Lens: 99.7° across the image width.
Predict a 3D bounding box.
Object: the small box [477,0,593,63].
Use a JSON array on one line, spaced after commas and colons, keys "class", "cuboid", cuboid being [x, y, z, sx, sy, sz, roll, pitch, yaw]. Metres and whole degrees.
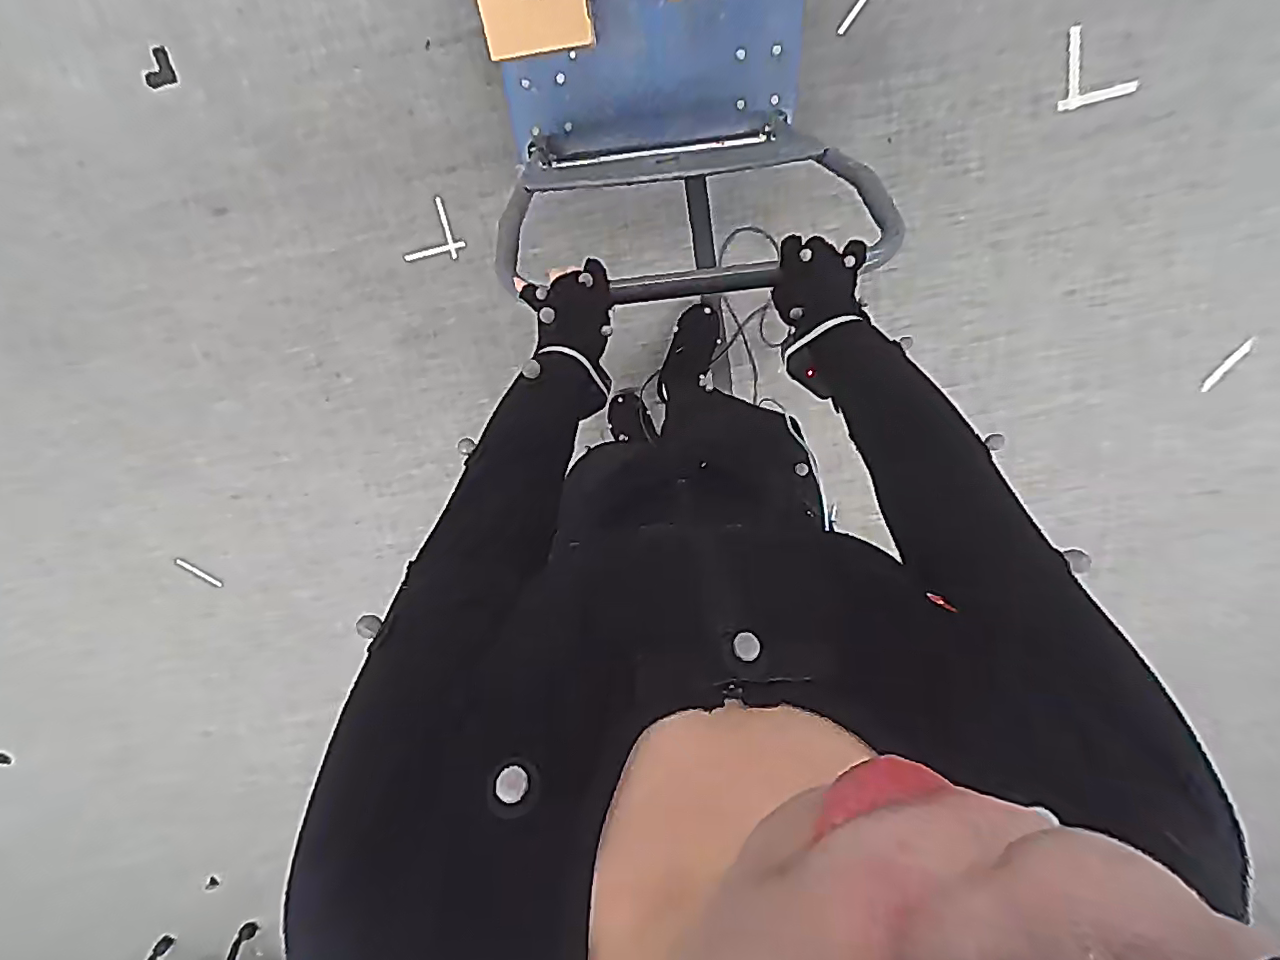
[{"class": "small box", "cuboid": [-0.179, -0.823, 0.913, 0.179, 0.176, 0.168, -9, 127, 2]}]
